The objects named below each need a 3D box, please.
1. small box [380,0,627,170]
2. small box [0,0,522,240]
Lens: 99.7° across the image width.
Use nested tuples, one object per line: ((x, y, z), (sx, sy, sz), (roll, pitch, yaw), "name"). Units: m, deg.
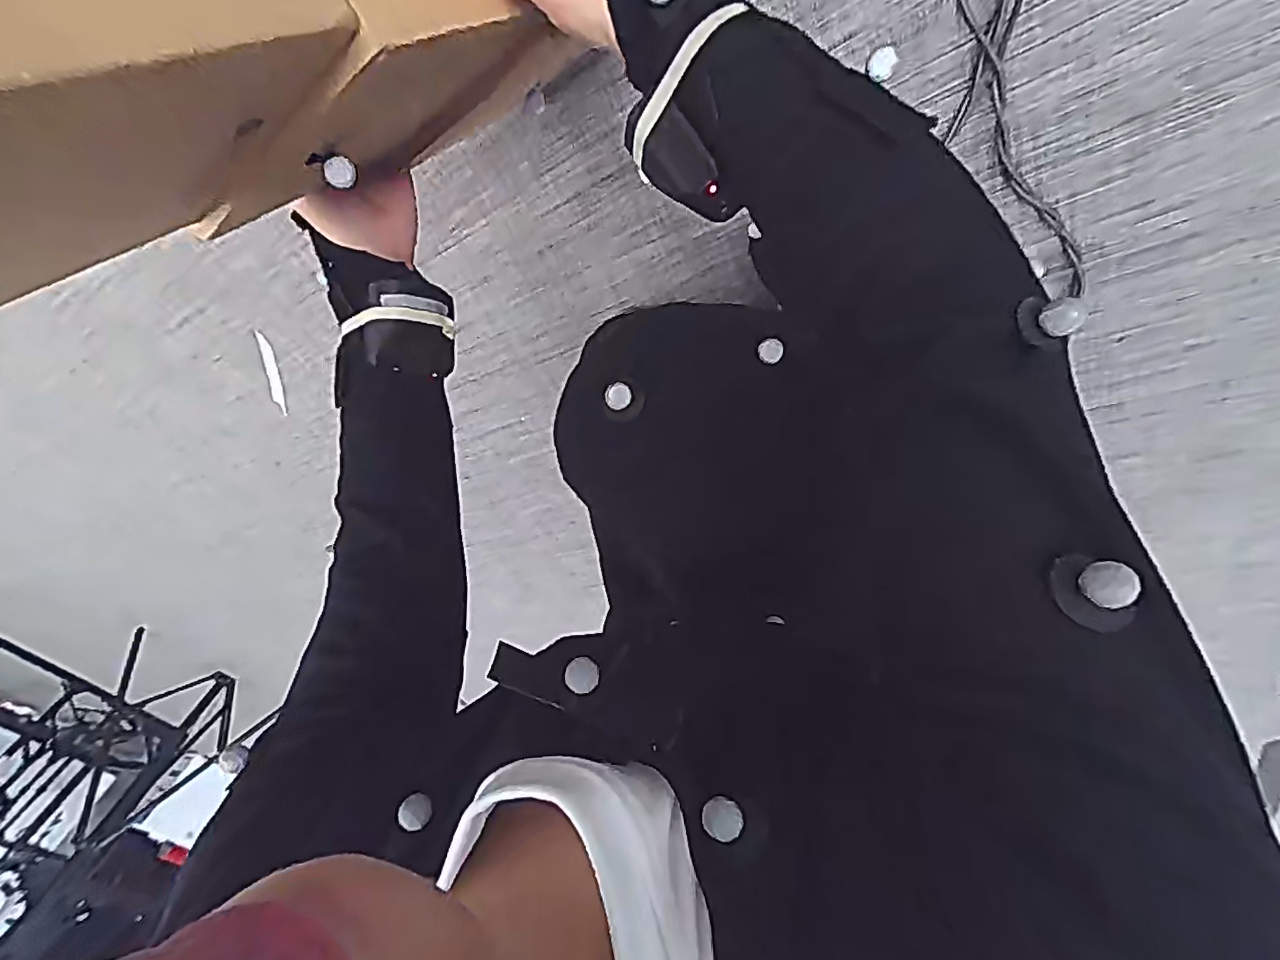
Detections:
((-0.135, -0.360, 0.375), (0.168, 0.176, 0.179), (-12, 127, 32), "small box")
((-0.180, -0.257, 0.259), (0.179, 0.176, 0.168), (-13, 127, 33), "small box")
